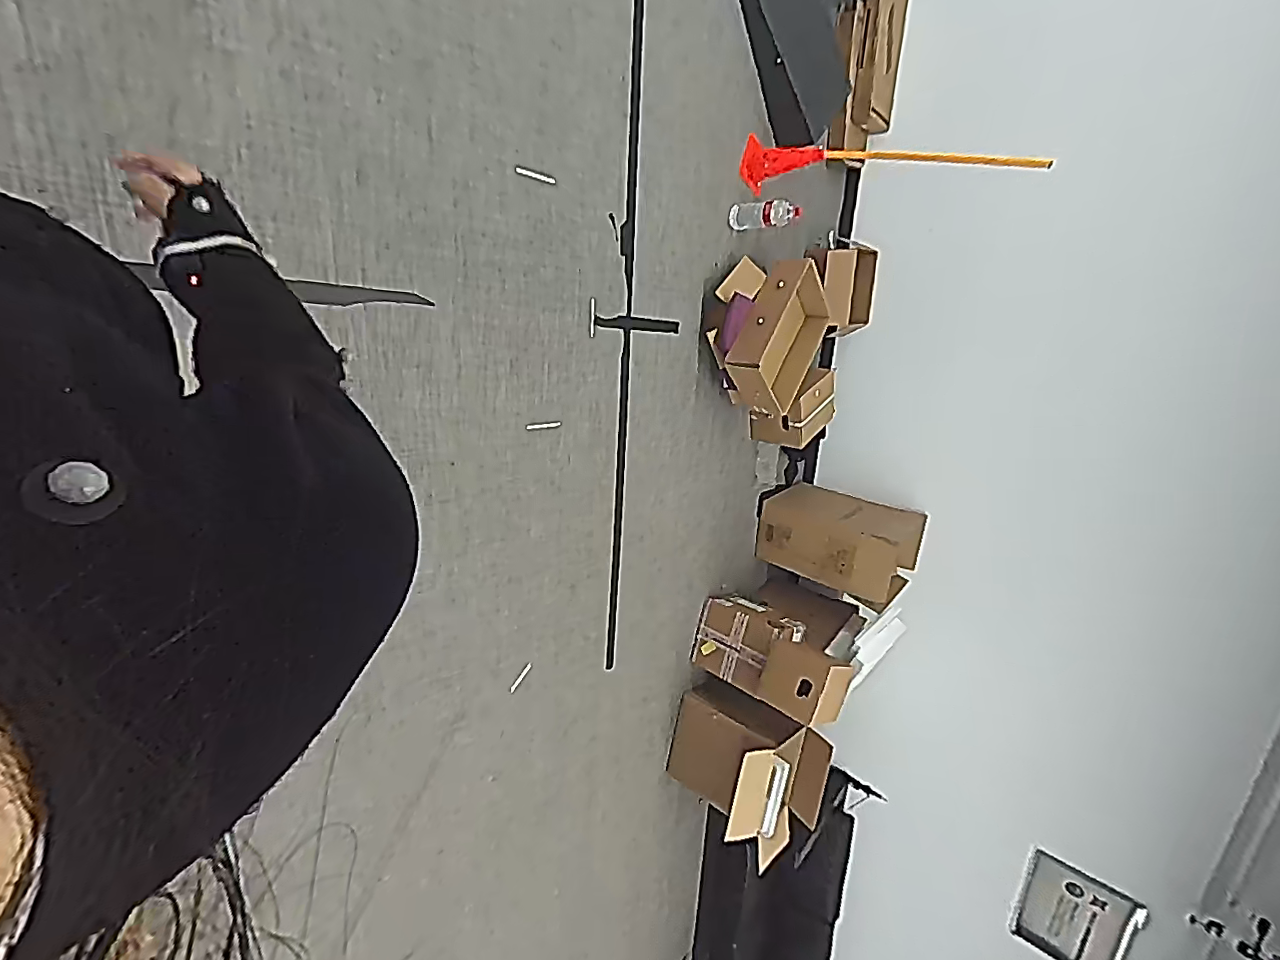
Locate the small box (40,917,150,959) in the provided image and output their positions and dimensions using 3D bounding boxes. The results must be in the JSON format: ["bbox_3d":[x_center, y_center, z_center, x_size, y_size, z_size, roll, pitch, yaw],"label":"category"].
[{"bbox_3d":[-1.086,1.021,1.061,0.168,0.176,0.179,-32,126,-43],"label":"small box"}]

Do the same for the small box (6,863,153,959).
[{"bbox_3d":[-1.207,0.978,1.165,0.168,0.176,0.179,-31,125,-41],"label":"small box"}]
